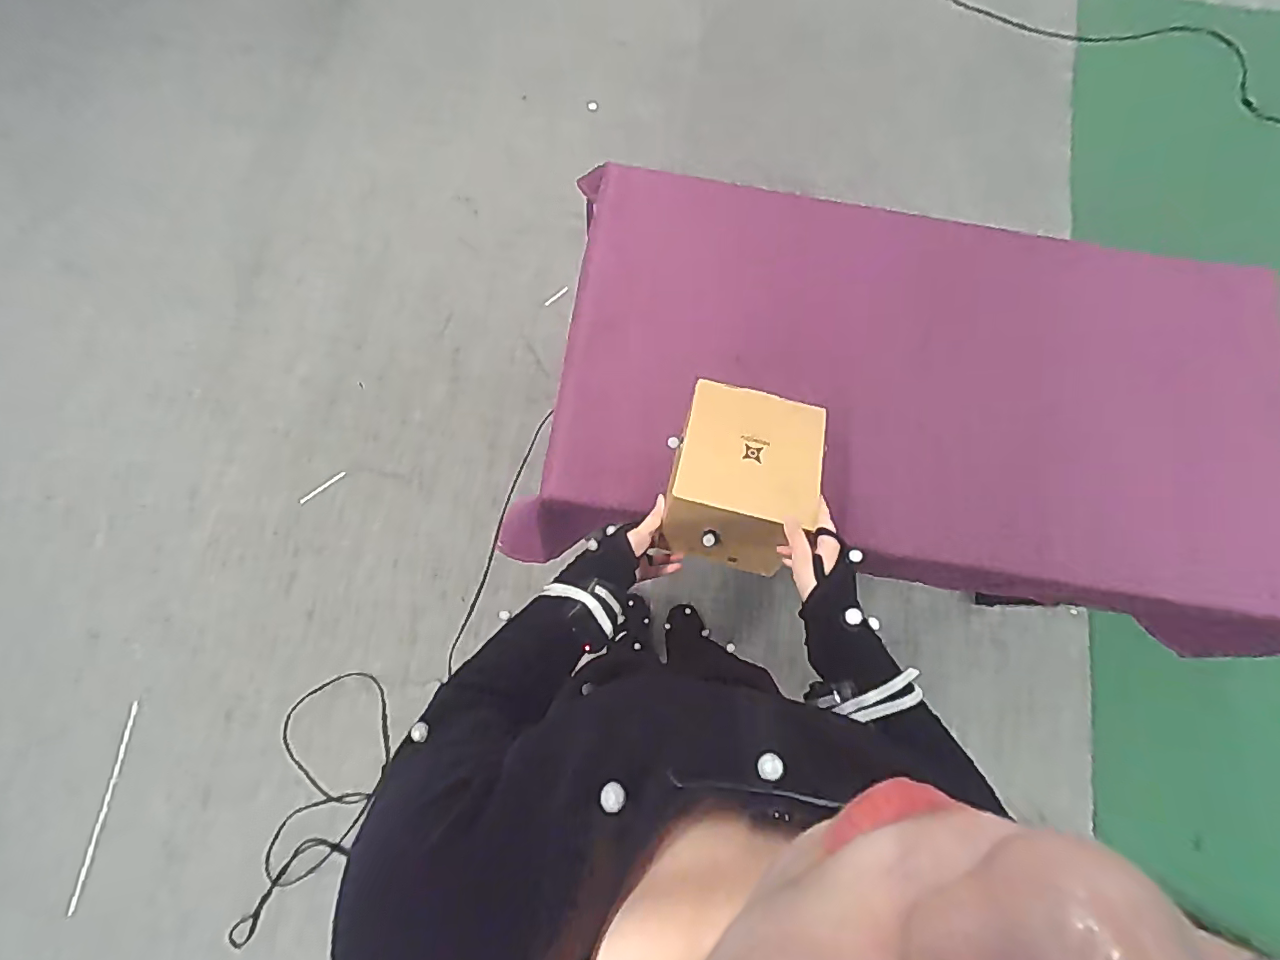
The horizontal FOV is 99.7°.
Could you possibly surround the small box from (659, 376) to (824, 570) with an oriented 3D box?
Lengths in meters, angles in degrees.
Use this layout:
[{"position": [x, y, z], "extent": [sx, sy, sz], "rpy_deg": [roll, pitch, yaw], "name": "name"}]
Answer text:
[{"position": [0.124, -0.001, 0.703], "extent": [0.168, 0.176, 0.179], "rpy_deg": [14, 61, 2], "name": "small box"}]
